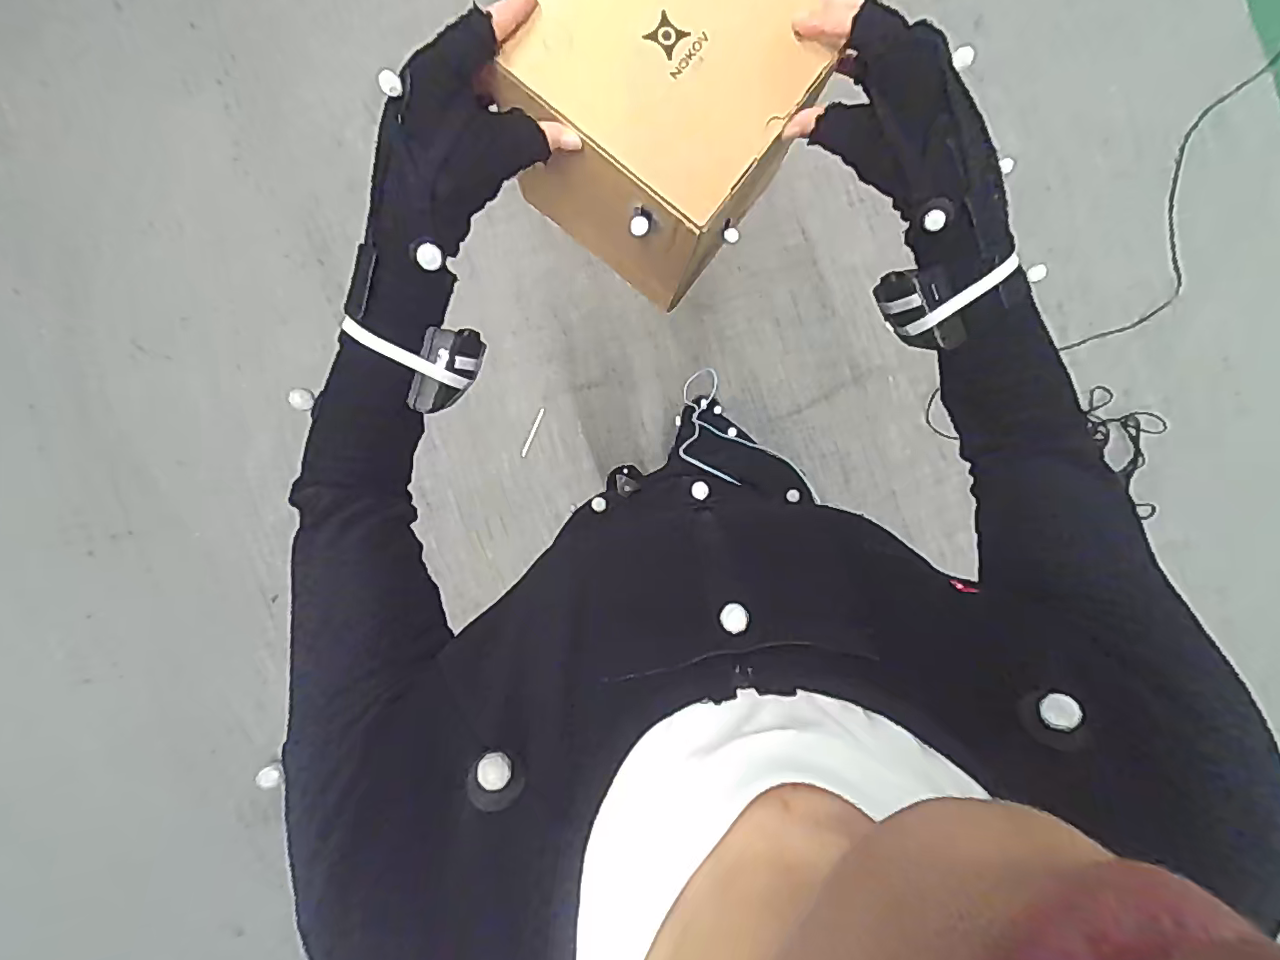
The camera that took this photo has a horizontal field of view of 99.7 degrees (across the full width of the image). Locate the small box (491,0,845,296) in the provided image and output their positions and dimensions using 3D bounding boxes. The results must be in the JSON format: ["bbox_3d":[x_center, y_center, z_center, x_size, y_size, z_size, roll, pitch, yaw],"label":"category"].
[{"bbox_3d":[0.014,-0.279,0.428,0.179,0.176,0.168,38,87,-4],"label":"small box"}]
